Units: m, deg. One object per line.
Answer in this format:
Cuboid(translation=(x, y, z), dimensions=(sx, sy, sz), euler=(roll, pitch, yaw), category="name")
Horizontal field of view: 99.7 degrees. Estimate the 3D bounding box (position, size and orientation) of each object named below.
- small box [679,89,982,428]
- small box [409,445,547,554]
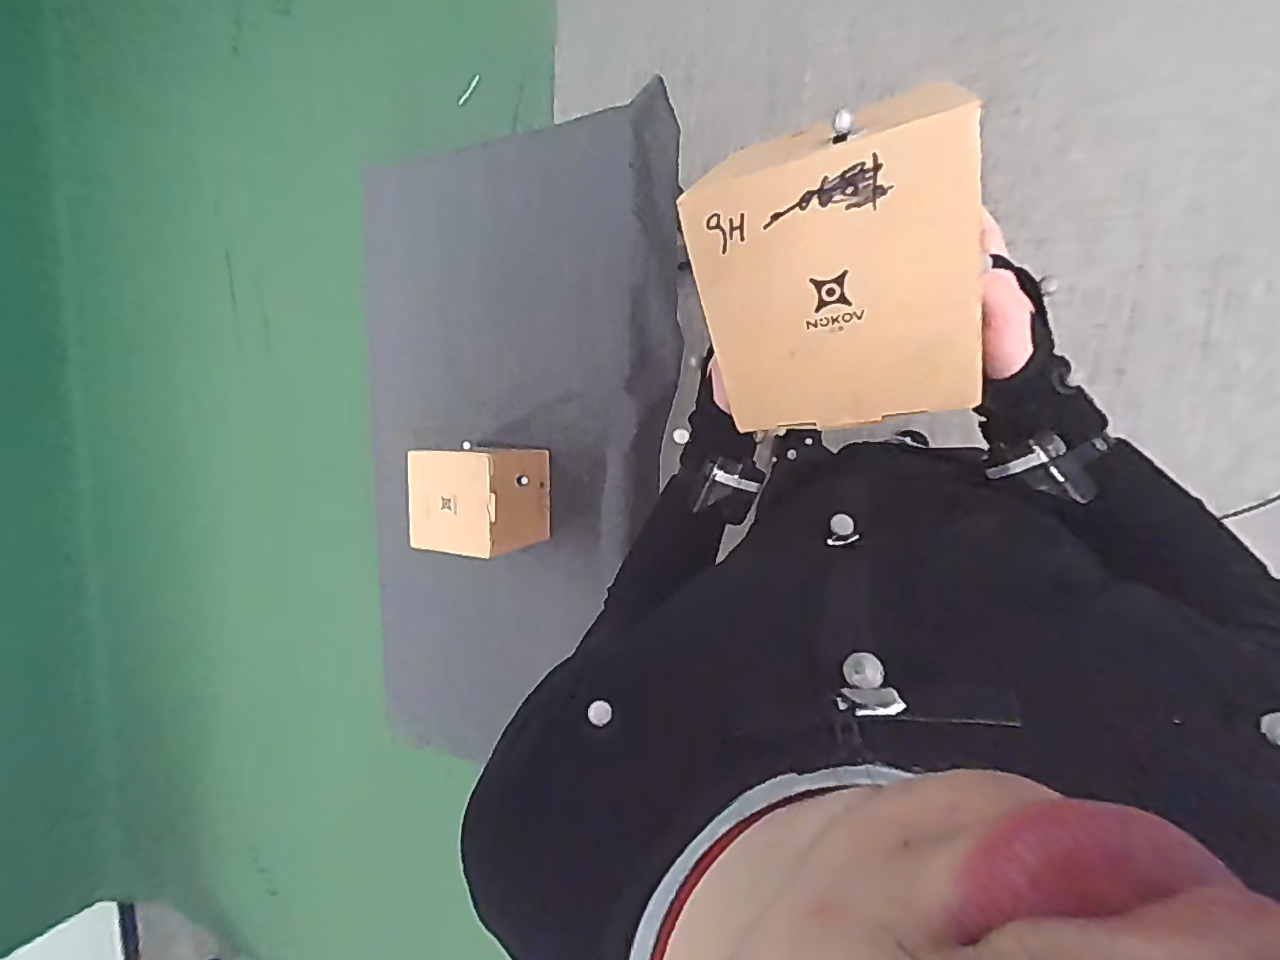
Cuboid(translation=(0.148, -0.161, 0.406), dimensions=(0.168, 0.176, 0.179), euler=(-4, 125, 25), category="small box")
Cuboid(translation=(-0.280, 0.025, 0.958), dimensions=(0.179, 0.176, 0.168), euler=(4, 96, 25), category="small box")
